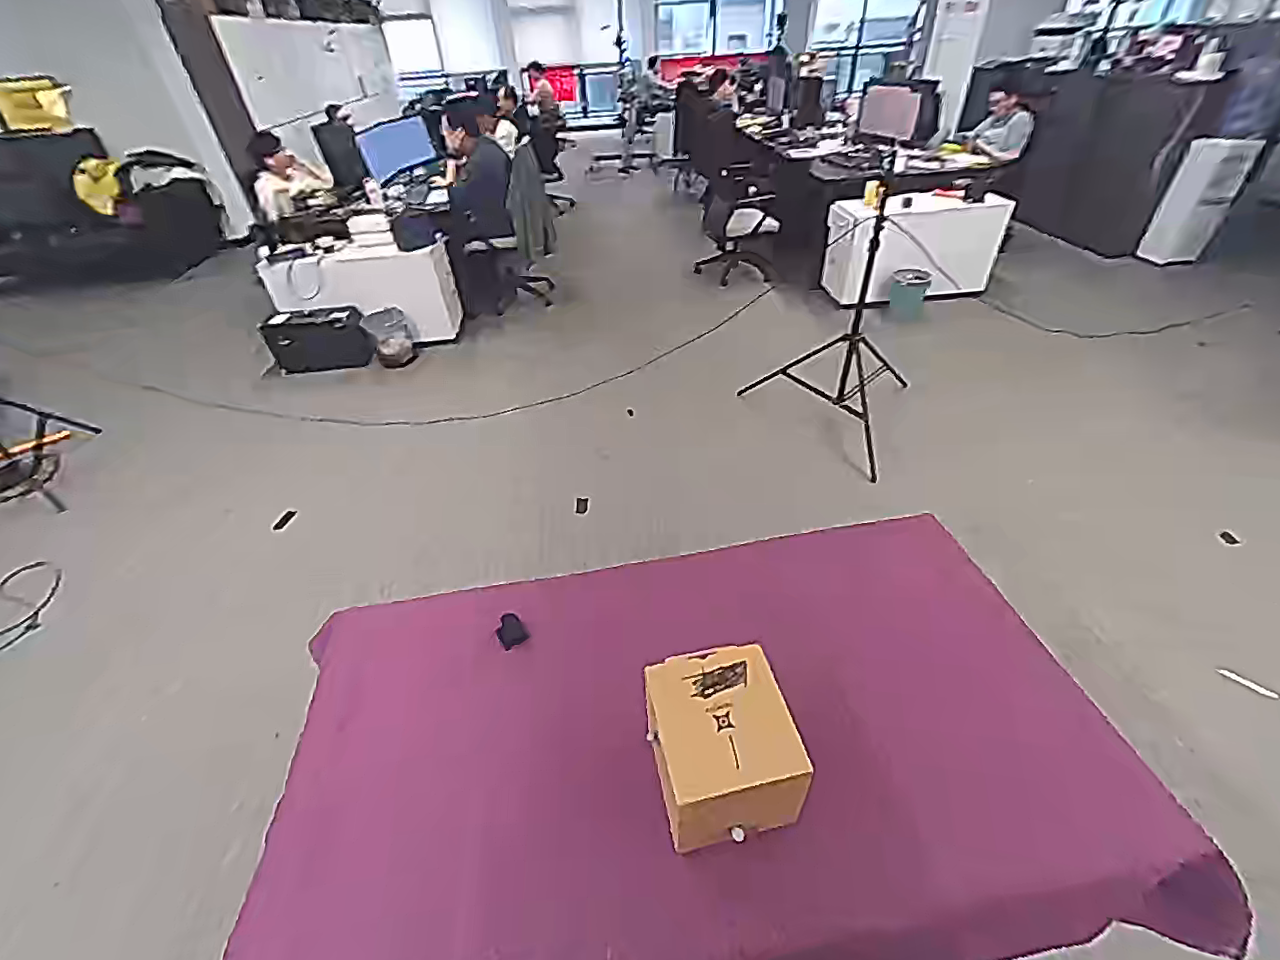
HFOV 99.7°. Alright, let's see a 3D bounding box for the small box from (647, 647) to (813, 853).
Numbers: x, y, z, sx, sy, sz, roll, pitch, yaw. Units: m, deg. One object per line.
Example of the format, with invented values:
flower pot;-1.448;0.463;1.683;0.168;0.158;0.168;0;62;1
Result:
small box;0.106;0.357;0.720;0.168;0.176;0.179;-10;40;-7
